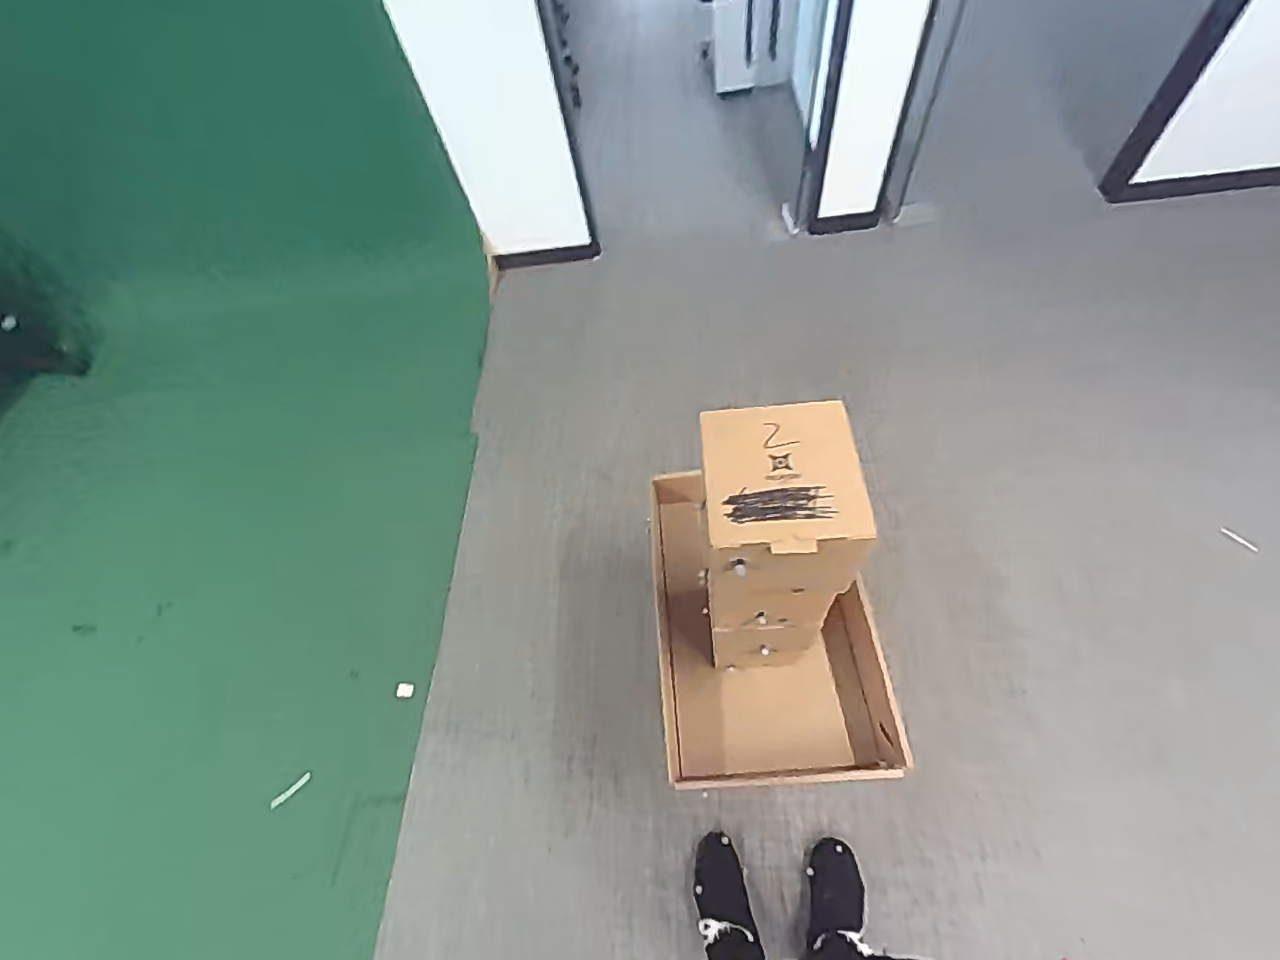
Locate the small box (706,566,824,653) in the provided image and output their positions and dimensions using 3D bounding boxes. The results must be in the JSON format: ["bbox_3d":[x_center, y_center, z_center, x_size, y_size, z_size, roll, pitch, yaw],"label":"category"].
[{"bbox_3d":[0.202,0.185,0.929,0.168,0.176,0.179,-6,59,5],"label":"small box"}]

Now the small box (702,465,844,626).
[{"bbox_3d":[0.181,0.100,0.793,0.168,0.176,0.179,-6,59,4],"label":"small box"}]

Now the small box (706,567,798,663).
[{"bbox_3d":[0.222,0.259,1.075,0.168,0.176,0.179,-5,58,5],"label":"small box"}]
